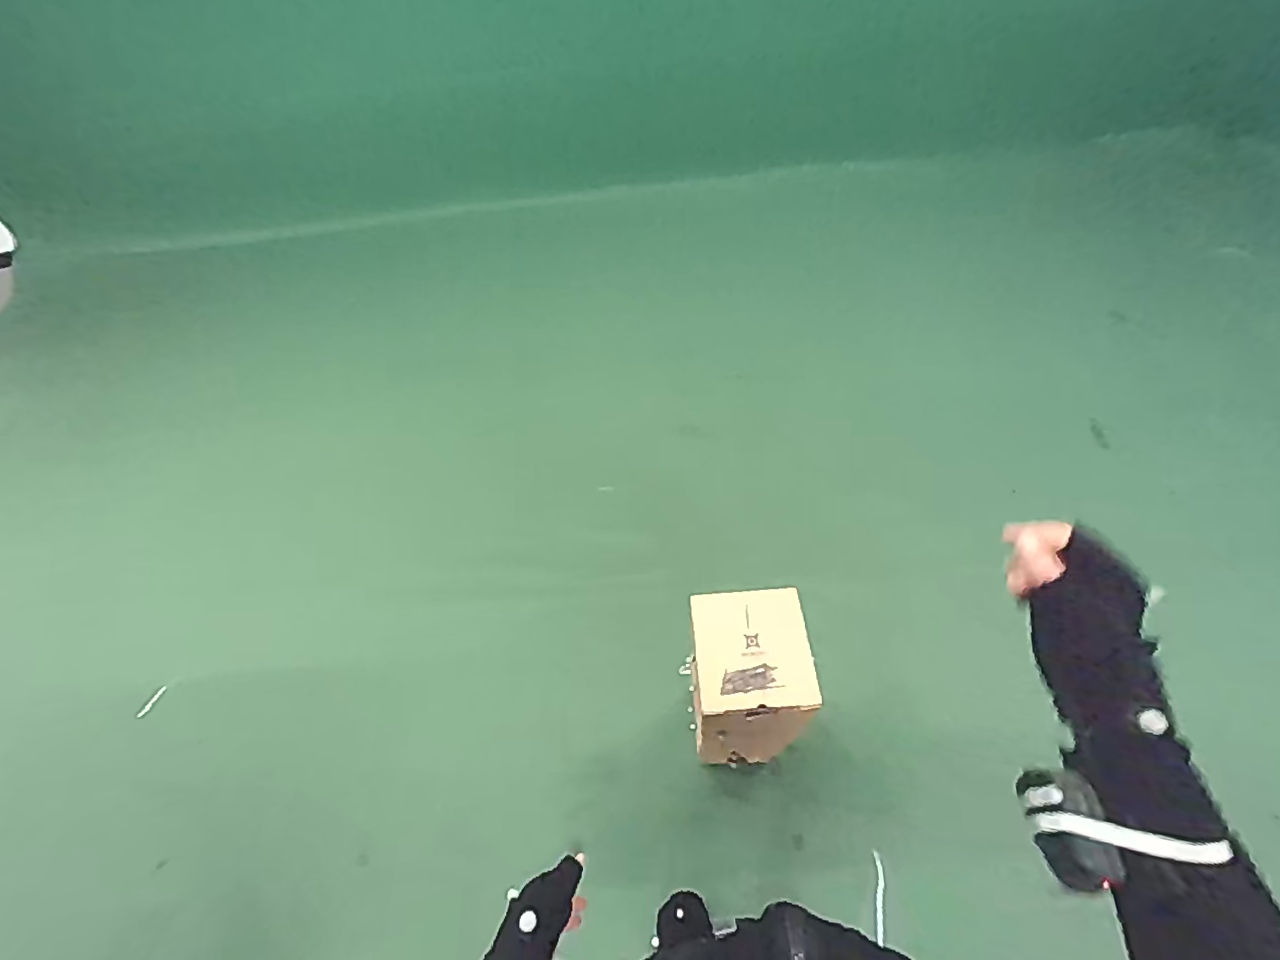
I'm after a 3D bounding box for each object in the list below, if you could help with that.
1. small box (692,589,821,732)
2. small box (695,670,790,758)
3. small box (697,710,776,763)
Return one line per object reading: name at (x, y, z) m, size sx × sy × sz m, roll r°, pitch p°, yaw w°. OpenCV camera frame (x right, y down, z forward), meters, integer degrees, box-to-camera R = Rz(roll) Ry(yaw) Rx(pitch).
small box at (0.173, 0.290, 0.852) m, size 0.168 × 0.176 × 0.179 m, roll -5°, pitch 54°, yaw 2°
small box at (0.204, 0.468, 1.128) m, size 0.168 × 0.176 × 0.179 m, roll -6°, pitch 56°, yaw 2°
small box at (0.219, 0.554, 1.266) m, size 0.168 × 0.176 × 0.179 m, roll -4°, pitch 56°, yaw 4°
